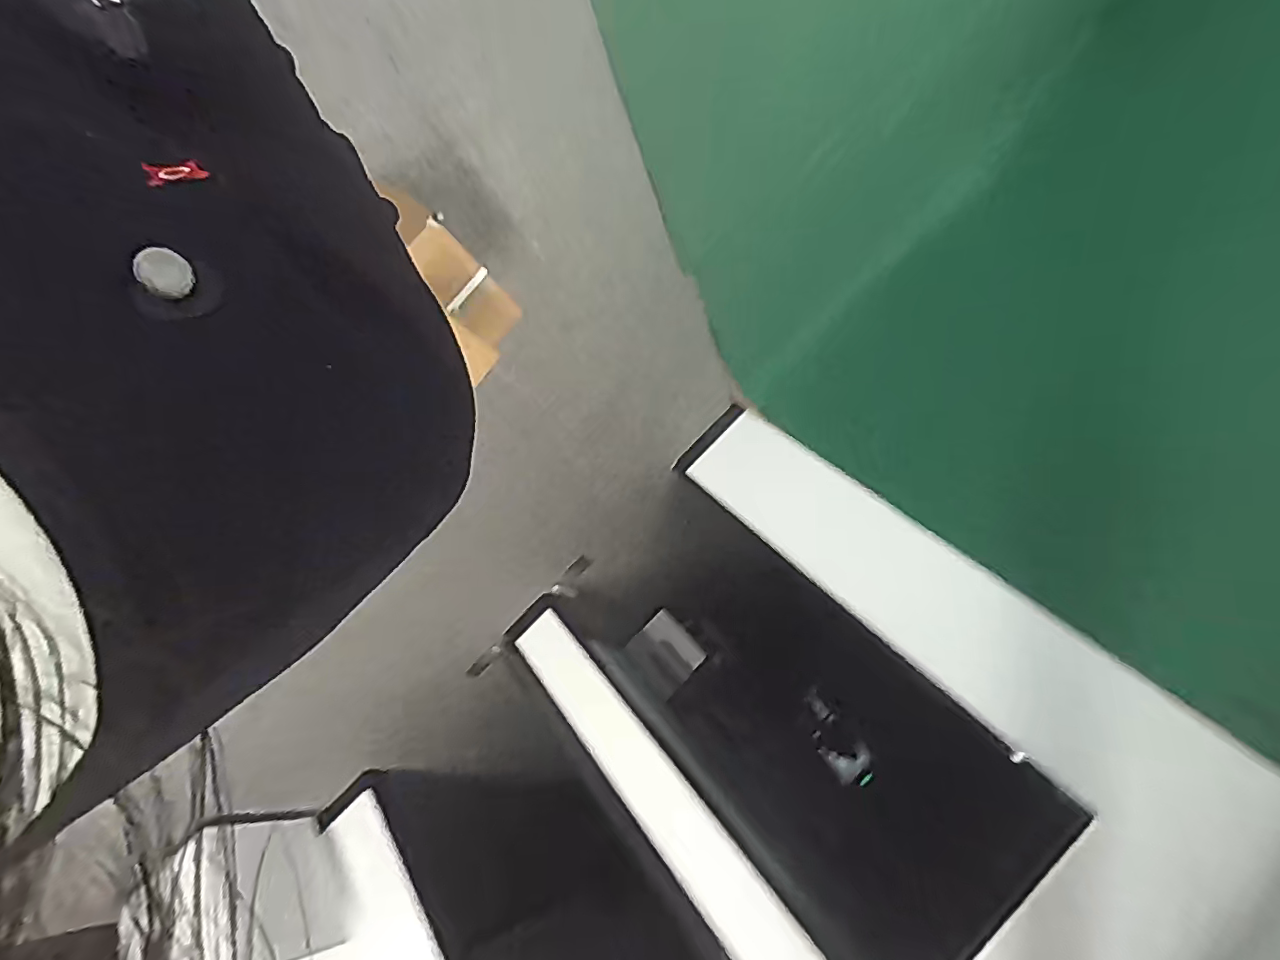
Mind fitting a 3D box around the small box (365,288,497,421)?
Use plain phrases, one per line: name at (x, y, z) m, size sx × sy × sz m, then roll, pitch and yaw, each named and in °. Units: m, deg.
small box at (-0.442, -0.261, 1.129) m, size 0.179 × 0.176 × 0.168 m, roll -50°, pitch 148°, yaw 5°
